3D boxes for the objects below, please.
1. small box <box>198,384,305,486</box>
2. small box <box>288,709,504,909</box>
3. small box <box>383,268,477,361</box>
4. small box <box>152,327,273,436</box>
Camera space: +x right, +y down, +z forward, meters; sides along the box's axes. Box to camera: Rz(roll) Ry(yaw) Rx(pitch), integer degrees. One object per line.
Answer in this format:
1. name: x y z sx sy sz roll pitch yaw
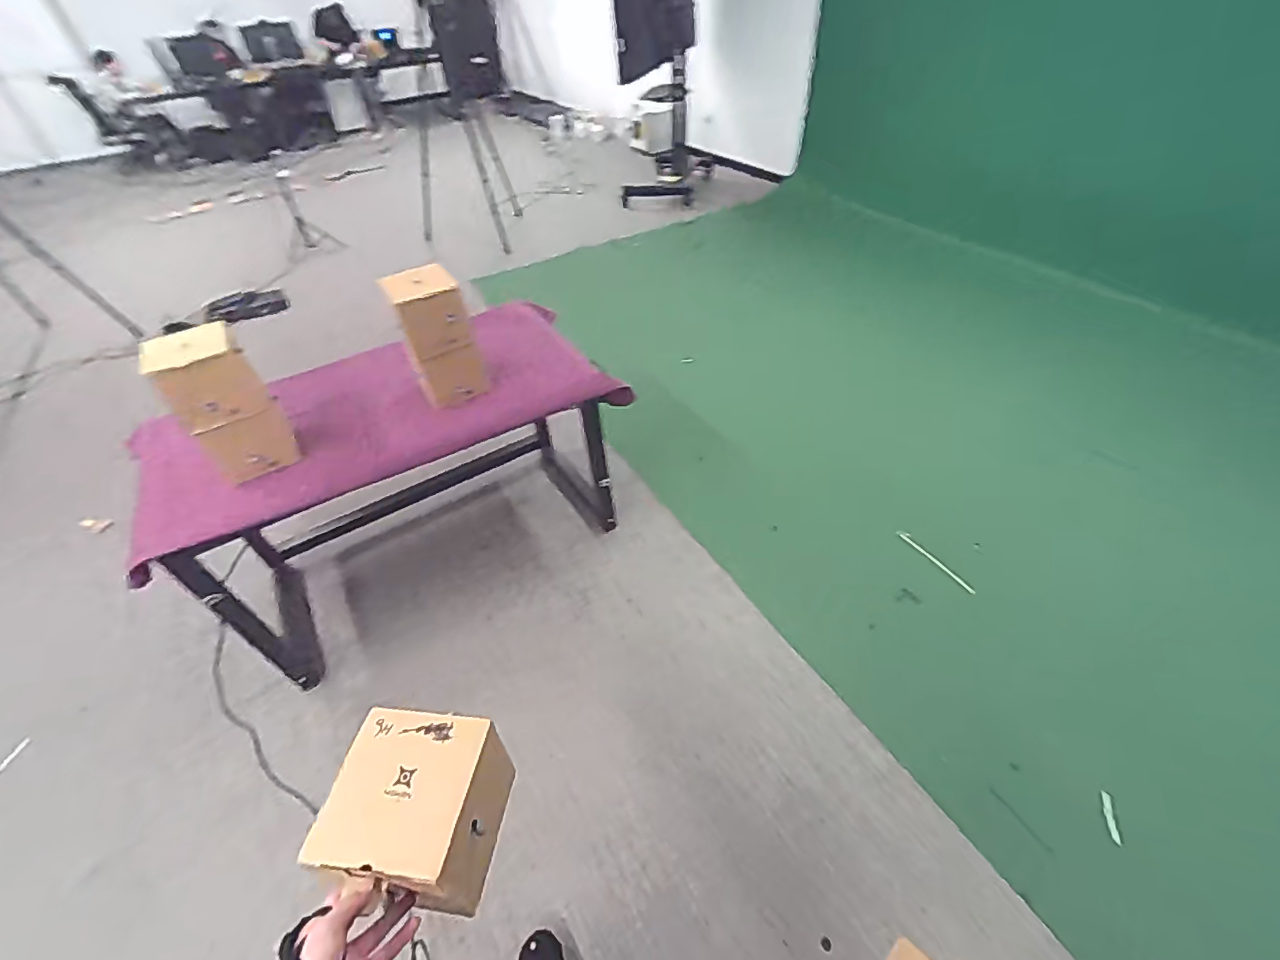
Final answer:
1. small box: -1.002 -0.116 1.399 0.168 0.176 0.179 -26 48 -20
2. small box: -0.287 0.419 0.689 0.168 0.176 0.179 2 43 7
3. small box: -0.561 -0.440 1.457 0.168 0.176 0.179 -26 48 -20
4. small box: -1.012 -0.233 1.287 0.168 0.176 0.179 -26 49 -21
